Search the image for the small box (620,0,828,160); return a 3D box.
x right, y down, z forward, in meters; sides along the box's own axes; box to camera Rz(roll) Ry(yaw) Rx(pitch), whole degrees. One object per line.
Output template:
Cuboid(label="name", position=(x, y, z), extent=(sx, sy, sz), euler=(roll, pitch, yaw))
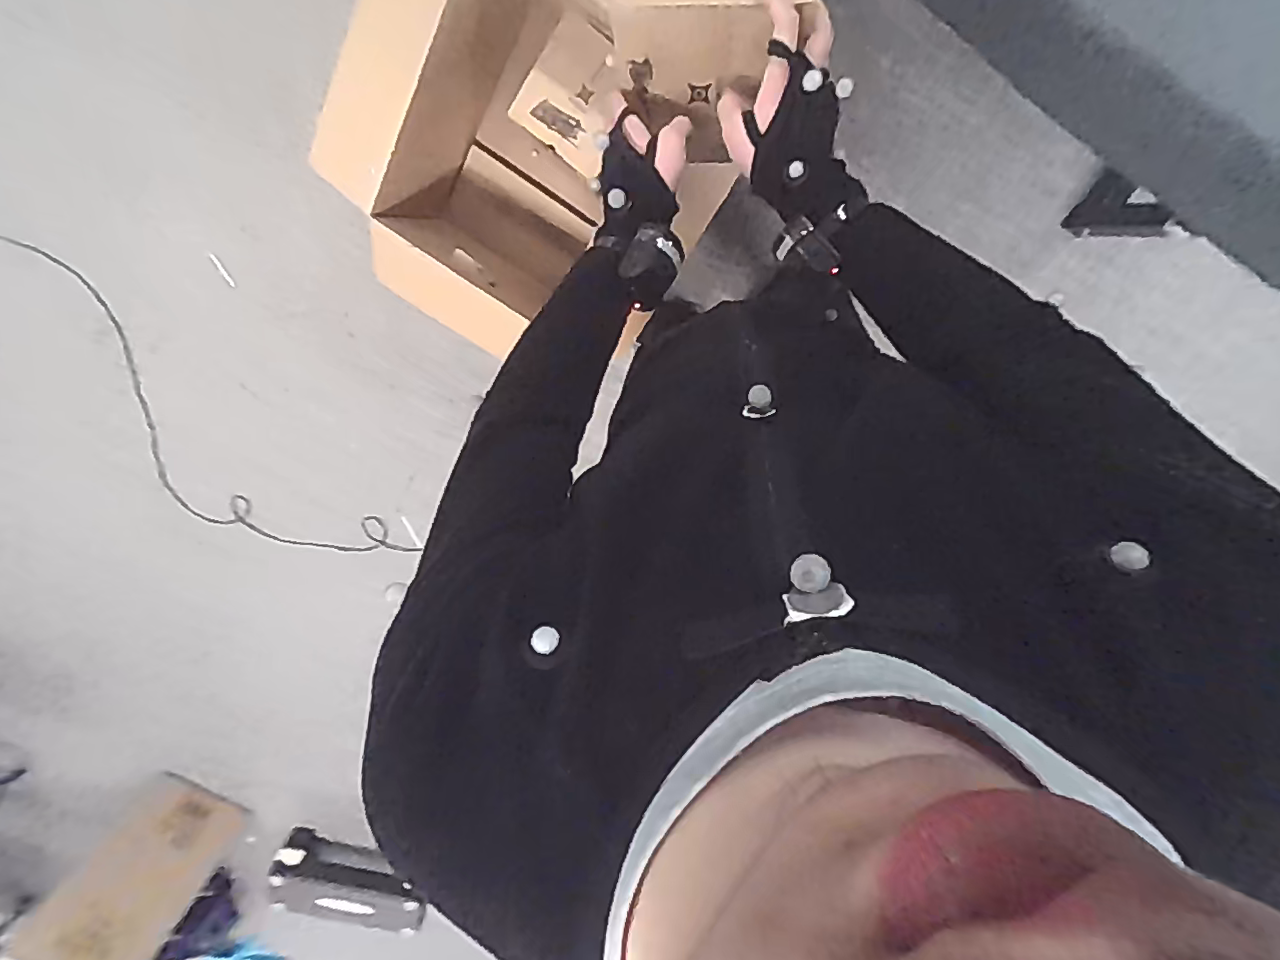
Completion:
Cuboid(label="small box", position=(0.077, -0.456, 0.540), extent=(0.179, 0.168, 0.176), euler=(3, 76, 4))
